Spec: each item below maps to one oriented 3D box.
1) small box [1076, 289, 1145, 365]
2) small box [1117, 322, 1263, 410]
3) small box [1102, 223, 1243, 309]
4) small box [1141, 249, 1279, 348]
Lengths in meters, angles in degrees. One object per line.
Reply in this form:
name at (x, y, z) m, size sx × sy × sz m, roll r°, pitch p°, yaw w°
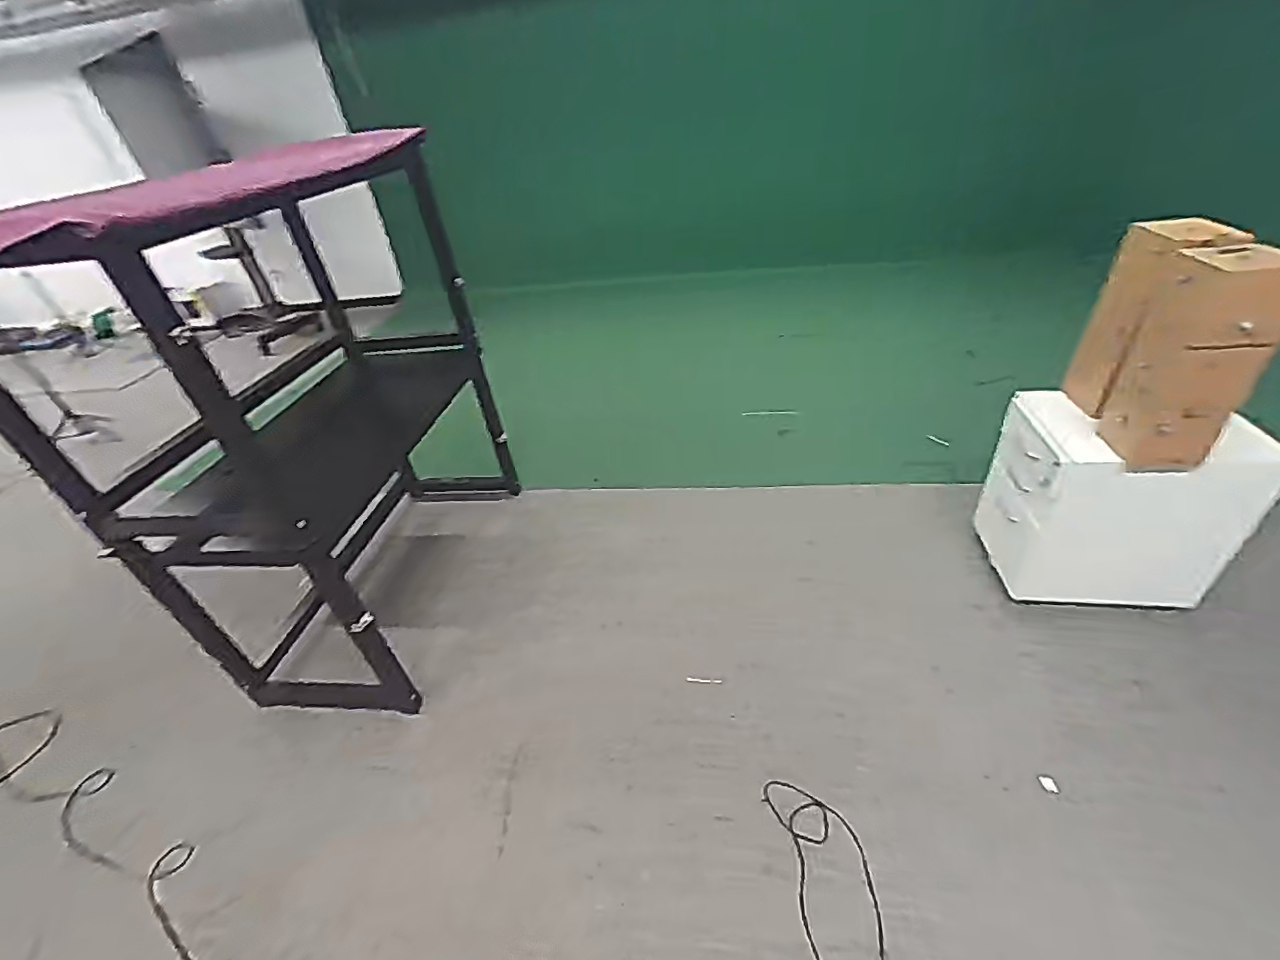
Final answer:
small box at (1.378, -0.426, 1.506) m, size 0.168 × 0.176 × 0.179 m, roll -2°, pitch 38°, yaw 5°
small box at (1.315, -0.278, 1.315) m, size 0.179 × 0.176 × 0.168 m, roll 0°, pitch 37°, yaw 10°
small box at (1.367, -0.555, 1.406) m, size 0.168 × 0.176 × 0.179 m, roll -2°, pitch 39°, yaw 6°
small box at (1.294, -0.407, 1.215) m, size 0.168 × 0.176 × 0.179 m, roll -1°, pitch 36°, yaw 10°
